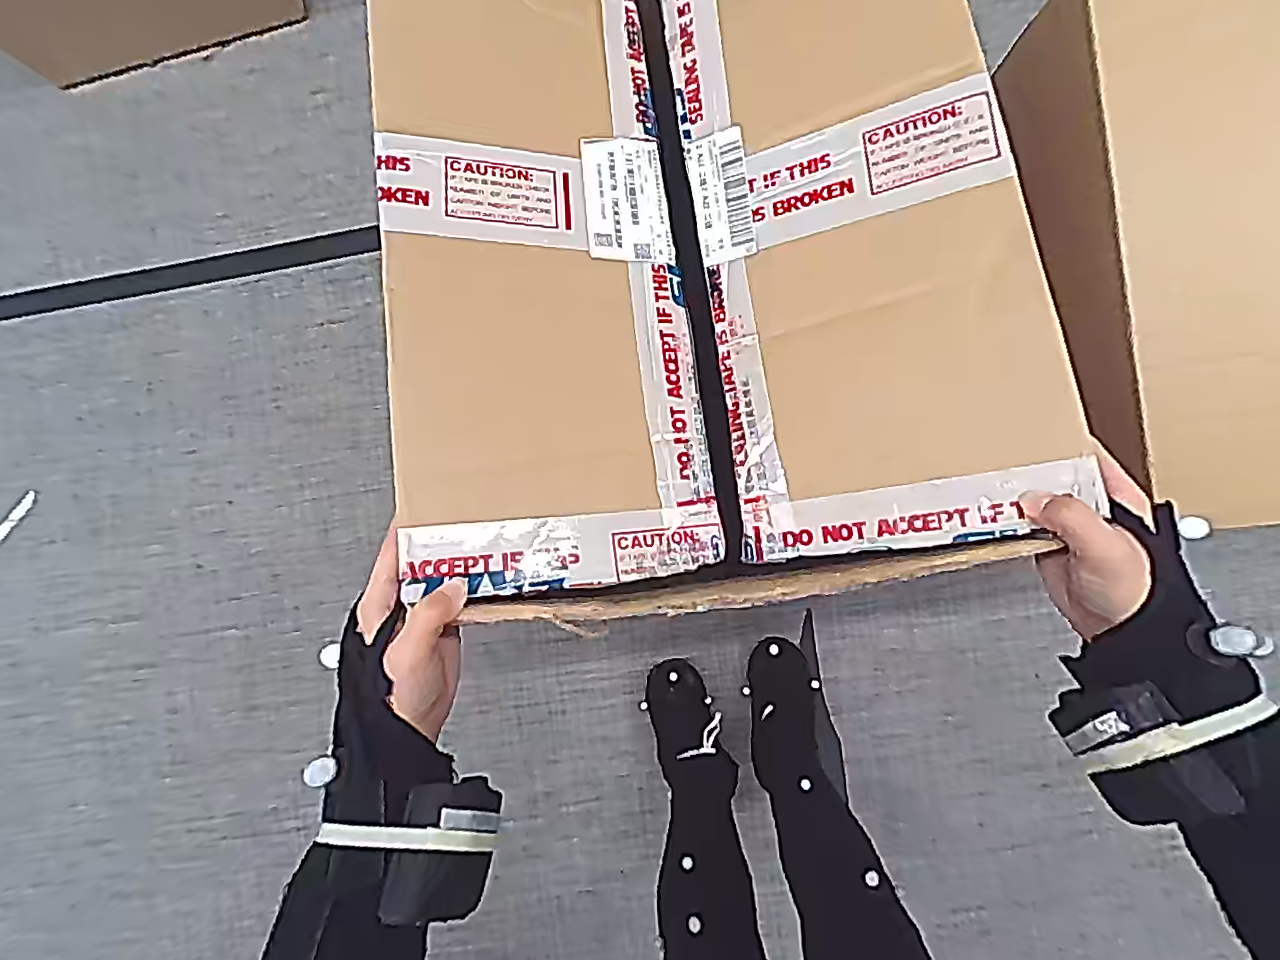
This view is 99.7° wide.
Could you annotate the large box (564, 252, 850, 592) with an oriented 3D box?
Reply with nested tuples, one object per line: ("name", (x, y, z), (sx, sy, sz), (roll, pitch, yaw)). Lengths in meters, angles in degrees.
("large box", (0.088, -0.074, 0.844), (0.320, 0.320, 0.408), (-9, 89, 3))
